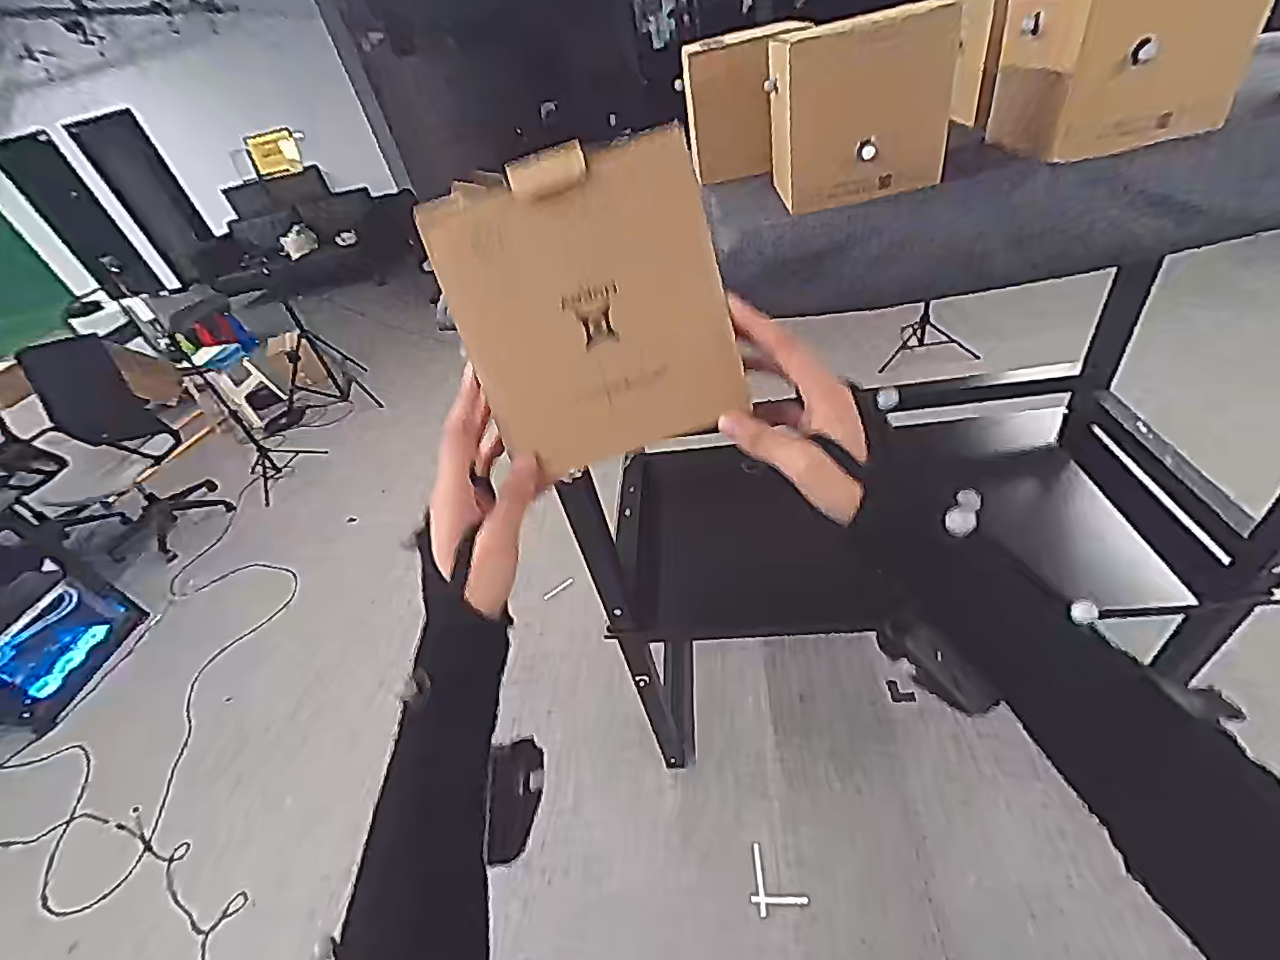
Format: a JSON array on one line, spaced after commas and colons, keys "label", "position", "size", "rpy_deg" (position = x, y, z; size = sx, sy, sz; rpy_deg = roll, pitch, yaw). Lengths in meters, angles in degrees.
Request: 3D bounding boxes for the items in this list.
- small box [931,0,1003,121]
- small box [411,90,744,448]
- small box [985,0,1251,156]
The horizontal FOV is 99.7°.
[{"label": "small box", "position": [0.548, -0.645, 0.792], "size": [0.168, 0.176, 0.179], "rpy_deg": [-7, 39, 9]}, {"label": "small box", "position": [-0.039, -0.143, 0.410], "size": [0.168, 0.179, 0.176], "rpy_deg": [-18, 16, 1]}, {"label": "small box", "position": [0.518, -0.478, 0.602], "size": [0.168, 0.176, 0.179], "rpy_deg": [-7, 38, 10]}]
